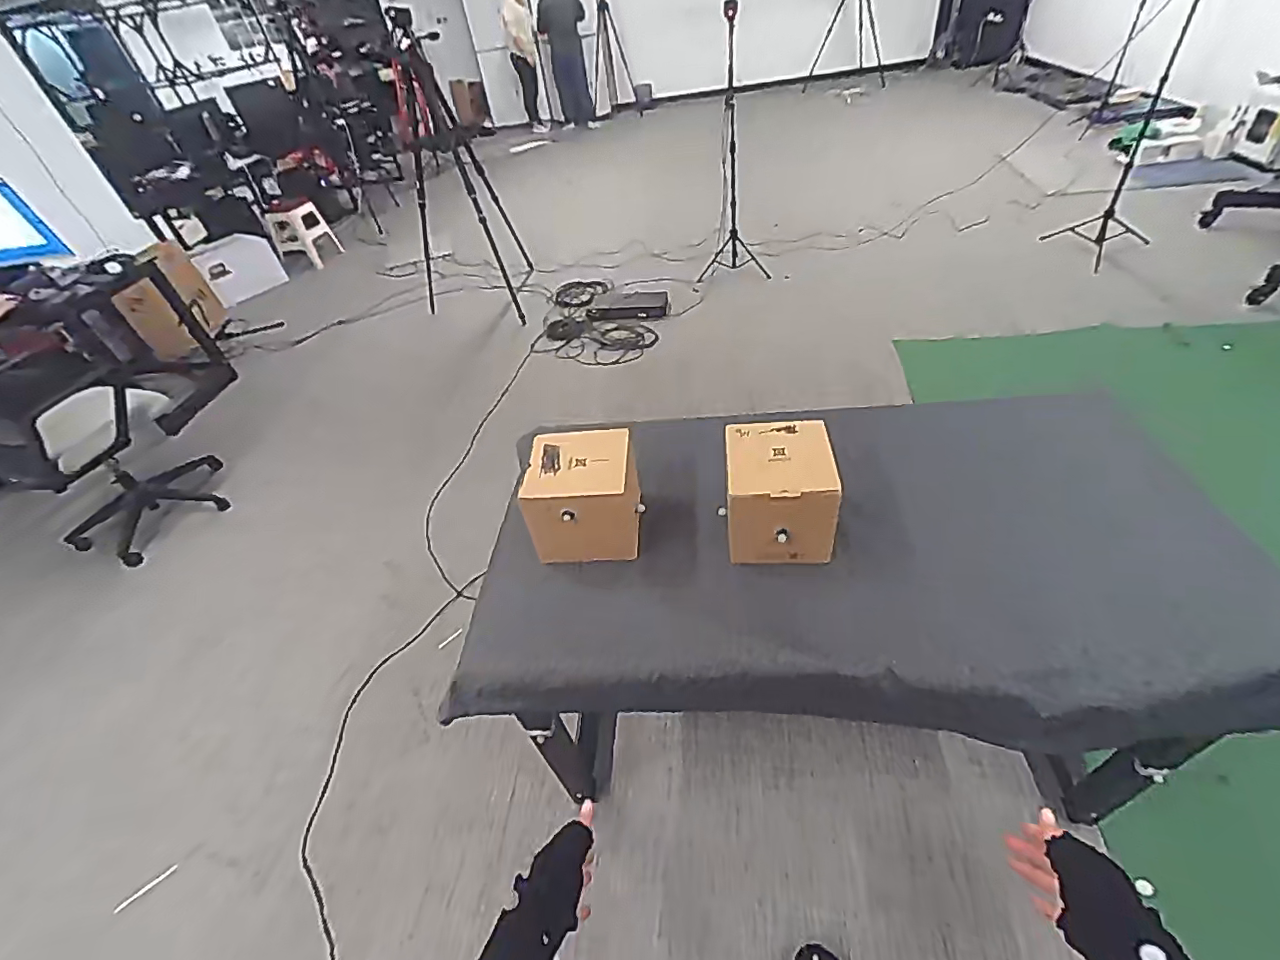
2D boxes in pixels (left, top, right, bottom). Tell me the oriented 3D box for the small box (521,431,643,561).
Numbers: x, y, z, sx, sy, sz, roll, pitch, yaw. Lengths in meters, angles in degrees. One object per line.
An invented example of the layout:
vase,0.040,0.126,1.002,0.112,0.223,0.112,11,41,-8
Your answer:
small box,-0.093,0.032,0.967,0.179,0.176,0.168,-3,43,6

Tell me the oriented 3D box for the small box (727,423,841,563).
small box,0.234,0.026,0.914,0.168,0.176,0.179,-2,44,9
